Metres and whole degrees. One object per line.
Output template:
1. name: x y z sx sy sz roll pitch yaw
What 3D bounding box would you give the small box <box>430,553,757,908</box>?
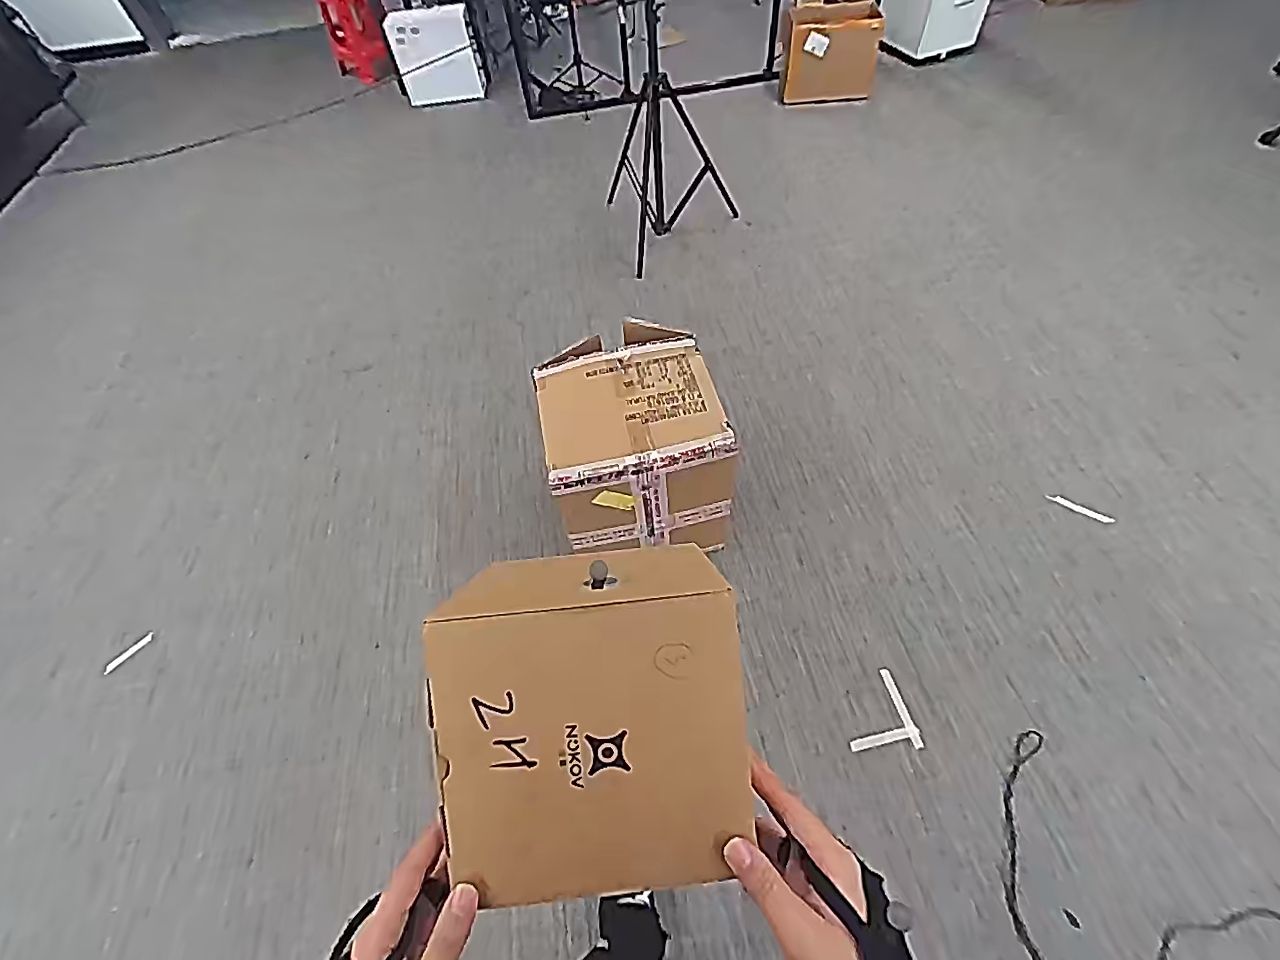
1. small box: -0.028 0.151 0.387 0.179 0.176 0.168 -6 91 -1
